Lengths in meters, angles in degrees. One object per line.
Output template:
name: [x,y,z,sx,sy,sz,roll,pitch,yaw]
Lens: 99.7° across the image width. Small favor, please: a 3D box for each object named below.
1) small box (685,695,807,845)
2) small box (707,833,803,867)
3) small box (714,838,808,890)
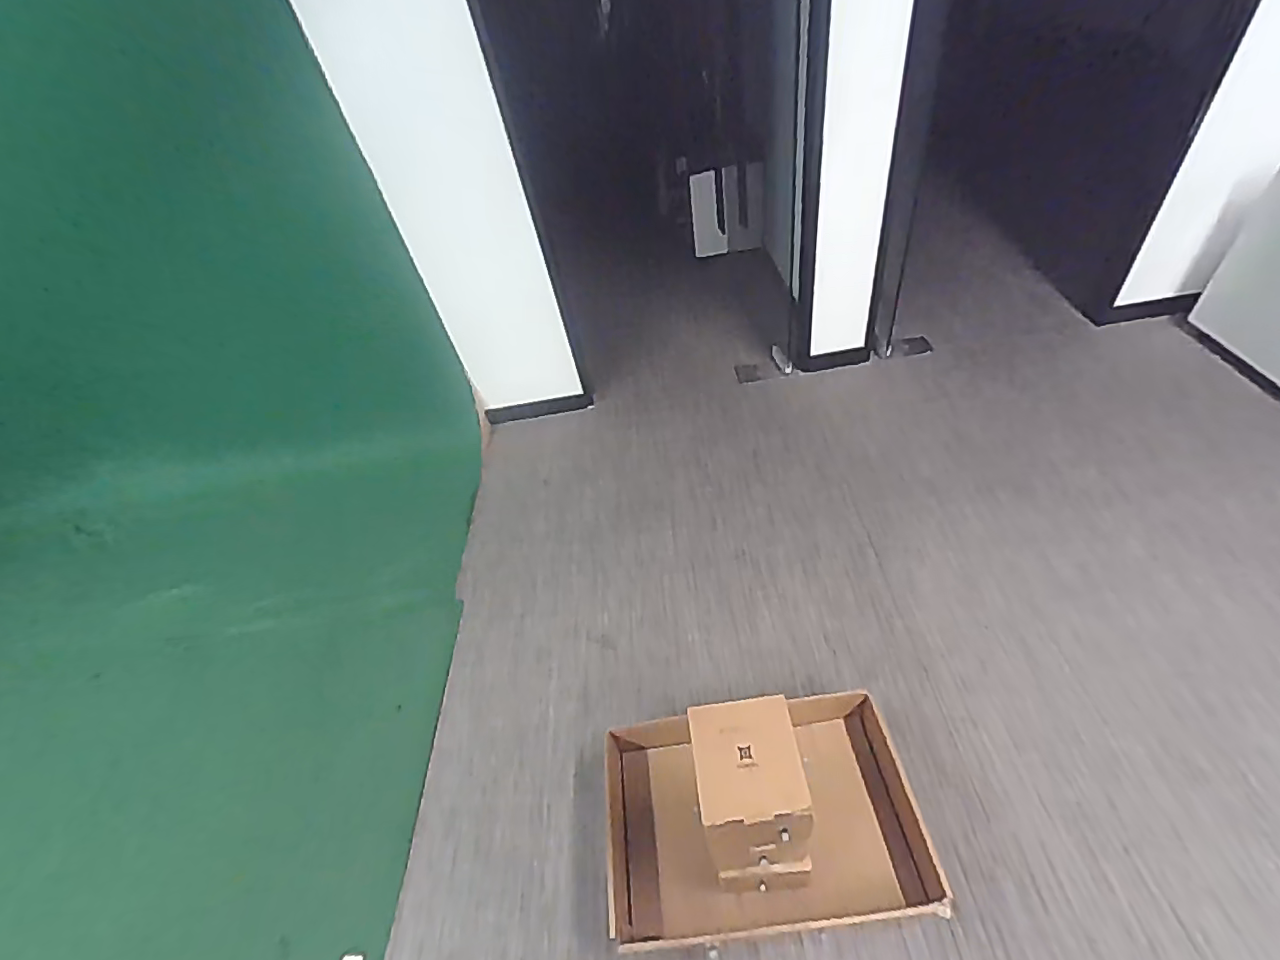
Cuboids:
small box: [0.173,0.488,0.902,0.168,0.176,0.179,-9,43,3]
small box: [0.205,0.614,1.029,0.168,0.176,0.179,-12,43,3]
small box: [0.240,0.737,1.127,0.179,0.176,0.168,-9,43,7]
